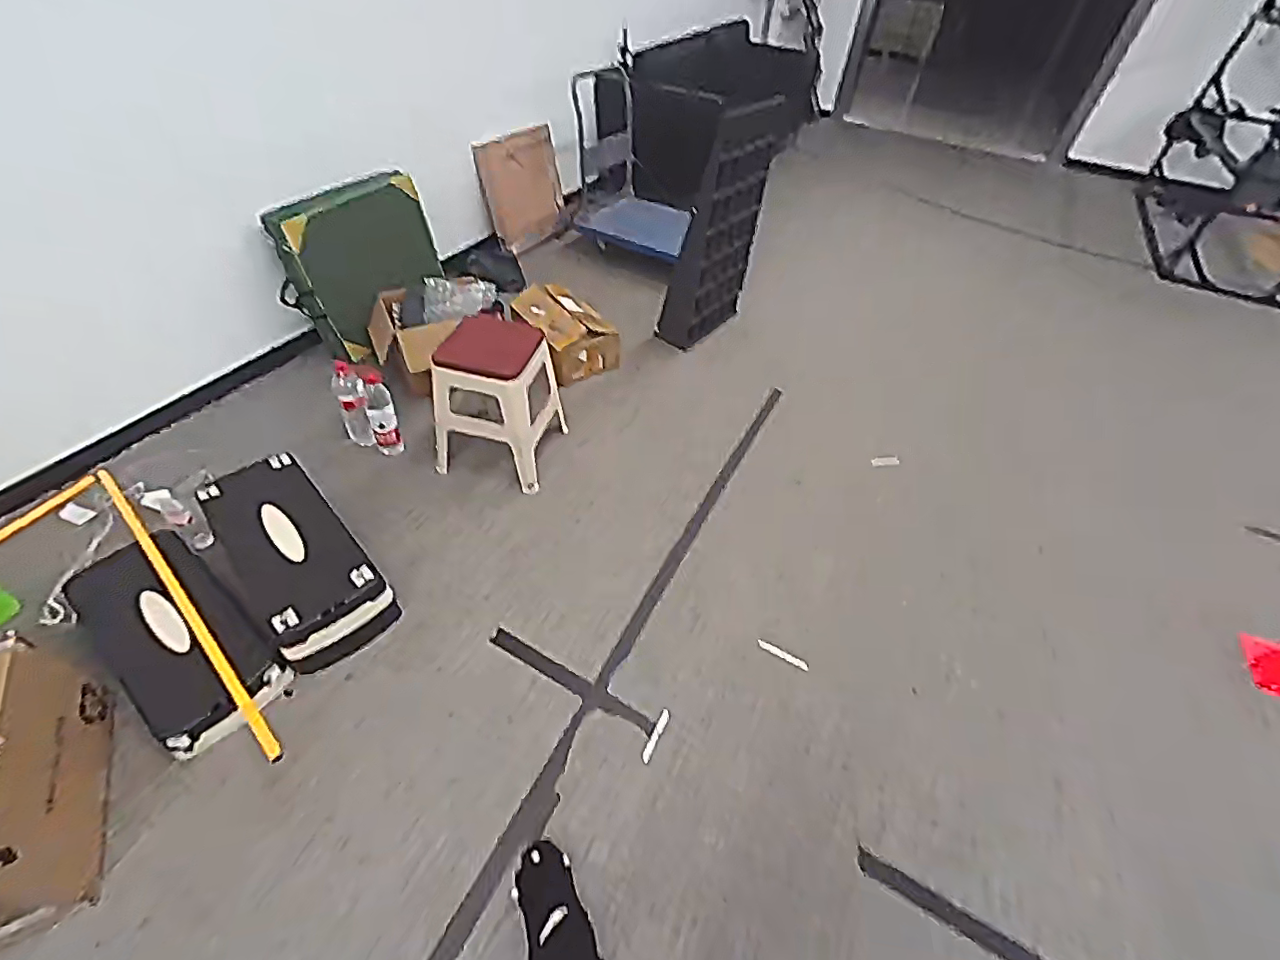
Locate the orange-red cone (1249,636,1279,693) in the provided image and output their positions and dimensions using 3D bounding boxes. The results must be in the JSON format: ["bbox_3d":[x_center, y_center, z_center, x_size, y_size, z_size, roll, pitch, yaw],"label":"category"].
[{"bbox_3d":[1.970,0.464,1.495,0.199,0.360,0.198,20,48,15],"label":"orange-red cone"}]
